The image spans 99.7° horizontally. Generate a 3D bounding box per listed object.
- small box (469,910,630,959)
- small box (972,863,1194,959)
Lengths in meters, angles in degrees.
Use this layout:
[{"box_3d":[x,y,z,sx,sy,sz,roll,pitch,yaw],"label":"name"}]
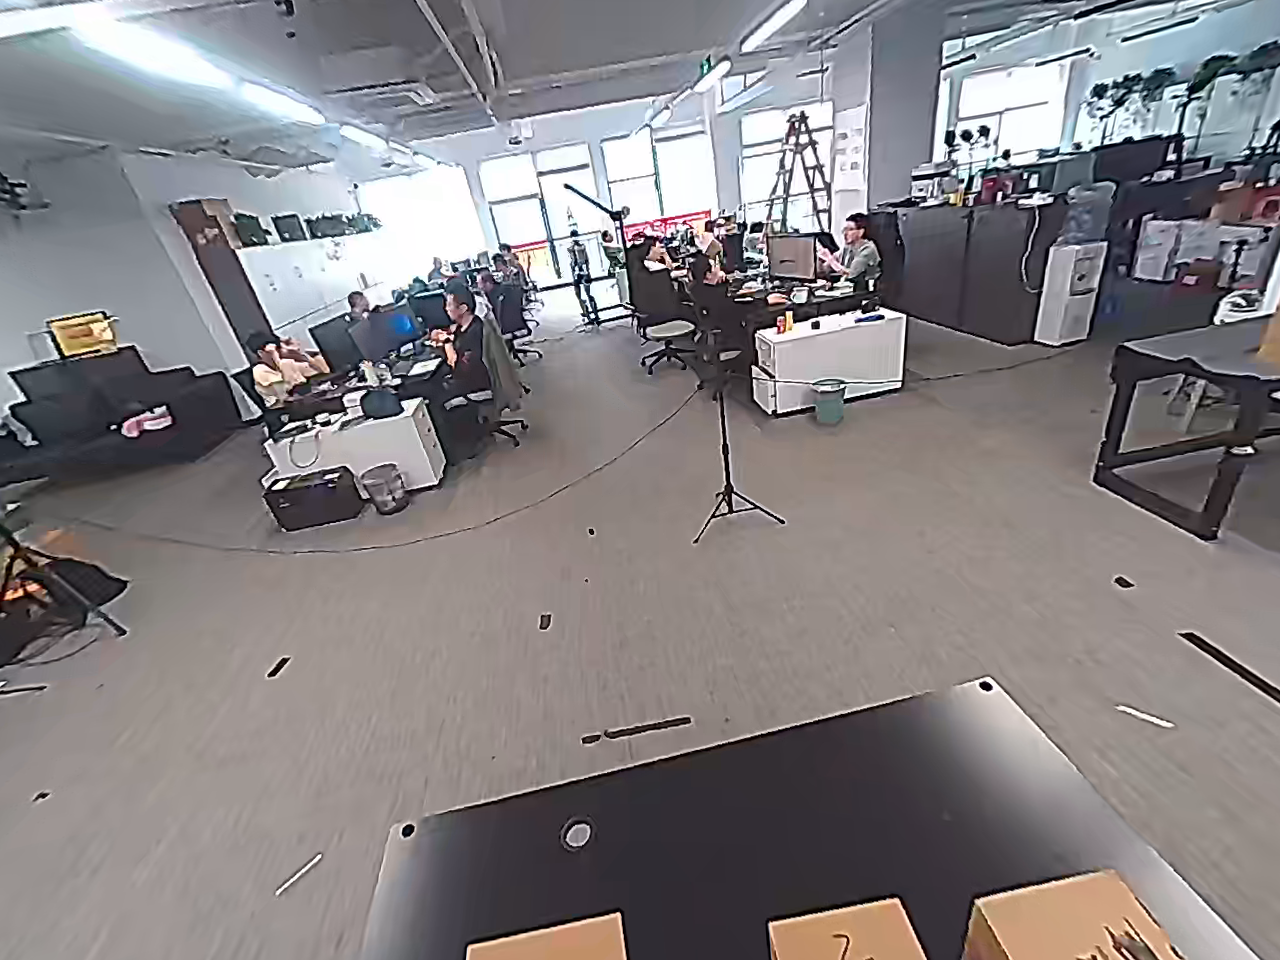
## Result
[{"box_3d":[-0.083,0.587,0.539,0.168,0.176,0.179,-6,27,-9],"label":"small box"},{"box_3d":[0.508,0.581,0.611,0.179,0.176,0.168,-13,27,-1],"label":"small box"}]
